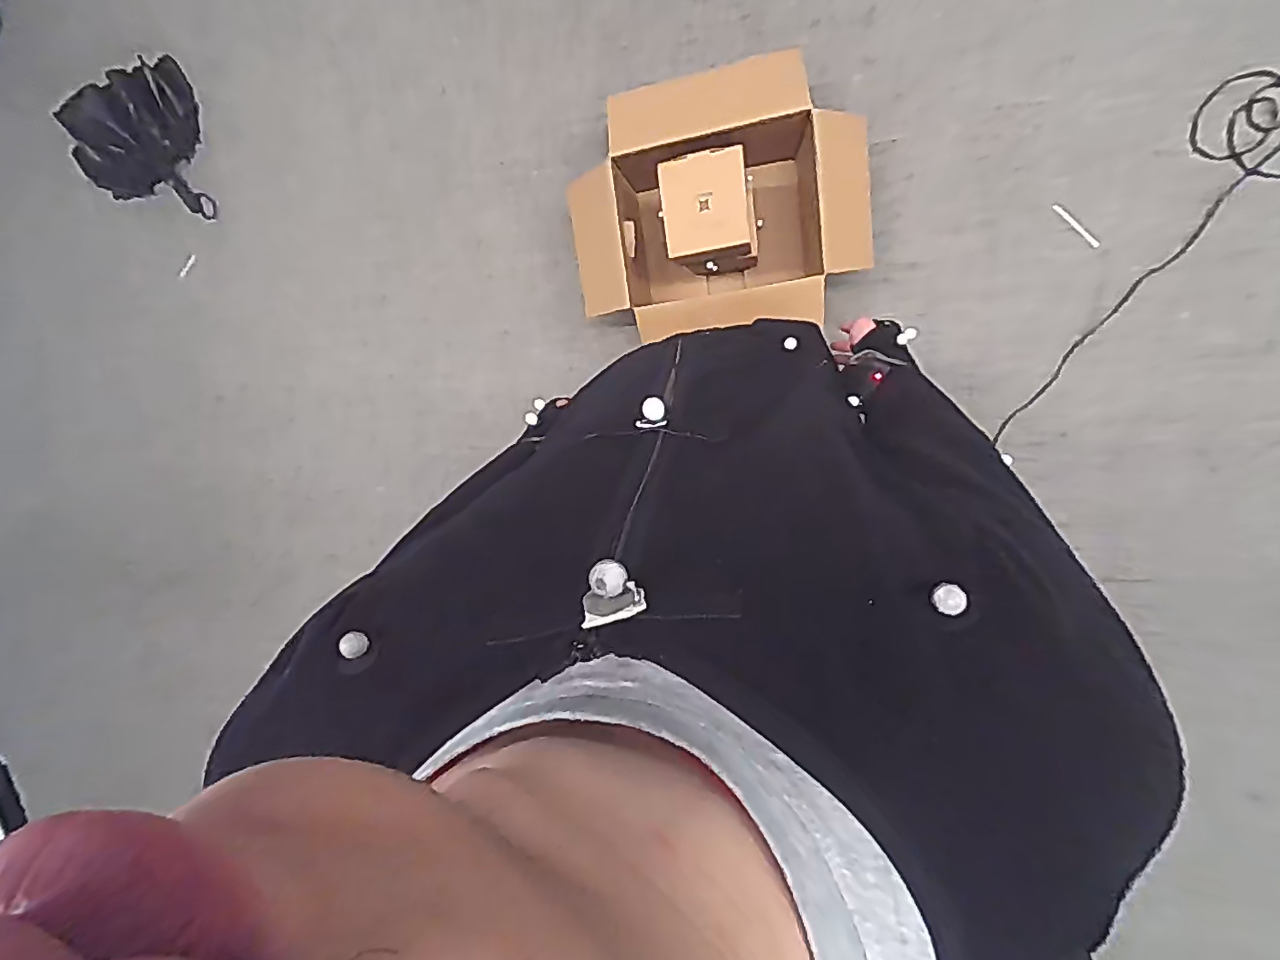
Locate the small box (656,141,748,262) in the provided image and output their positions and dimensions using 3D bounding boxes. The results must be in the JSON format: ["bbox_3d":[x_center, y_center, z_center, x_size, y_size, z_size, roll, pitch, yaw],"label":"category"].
[{"bbox_3d":[0.134,-0.566,1.122,0.168,0.176,0.179,-5,105,14],"label":"small box"}]
